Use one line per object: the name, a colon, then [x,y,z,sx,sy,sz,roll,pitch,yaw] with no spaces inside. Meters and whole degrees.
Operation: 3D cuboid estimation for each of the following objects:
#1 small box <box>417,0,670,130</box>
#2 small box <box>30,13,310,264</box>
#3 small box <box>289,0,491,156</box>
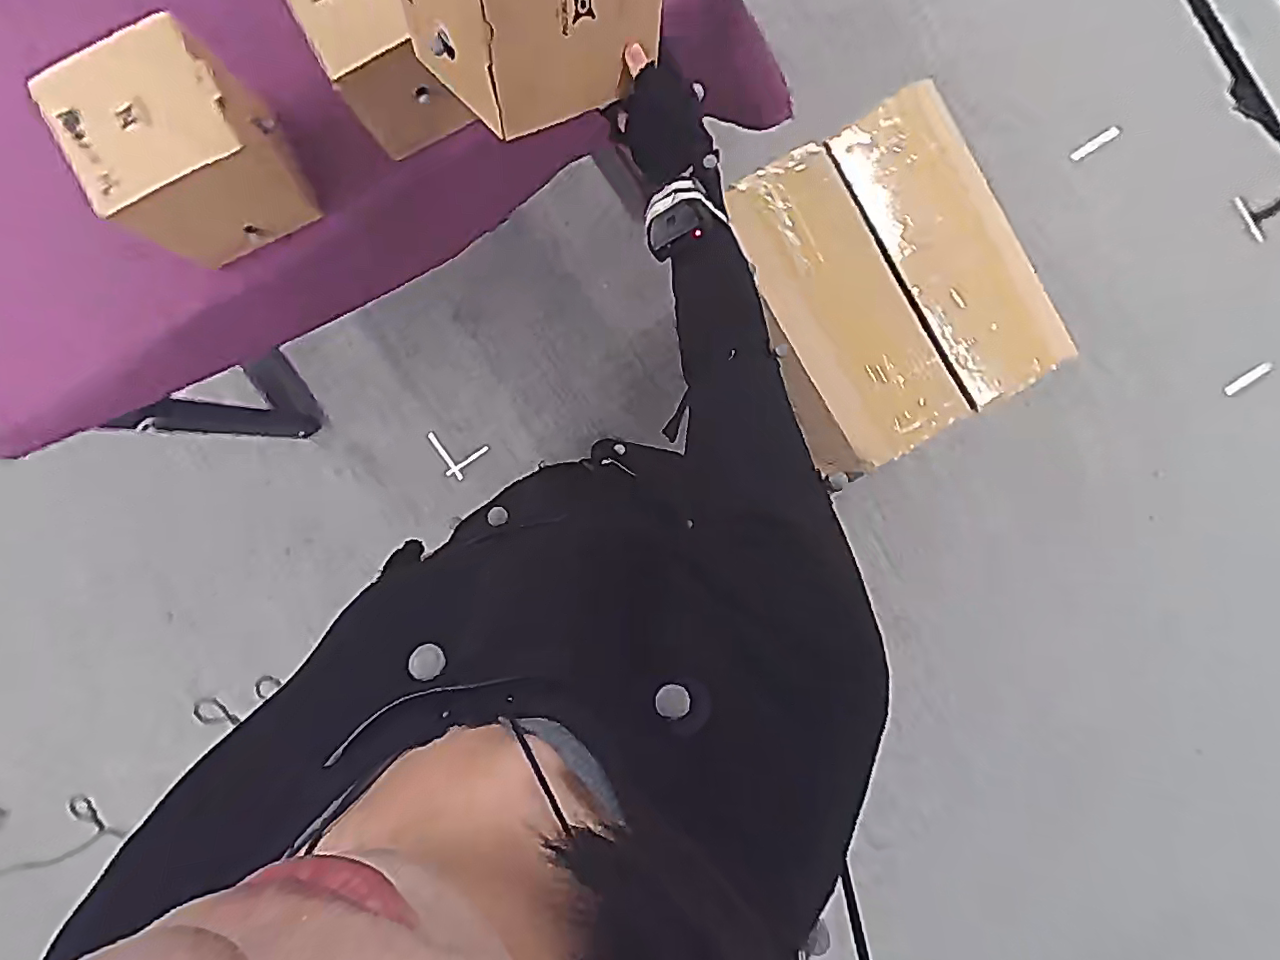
small box: [-0.090,-0.446,0.461,0.179,0.168,0.176,-33,70,-19]
small box: [-0.551,-0.402,0.670,0.179,0.176,0.168,-27,92,-2]
small box: [-0.301,-0.553,0.670,0.179,0.176,0.168,-28,92,0]
